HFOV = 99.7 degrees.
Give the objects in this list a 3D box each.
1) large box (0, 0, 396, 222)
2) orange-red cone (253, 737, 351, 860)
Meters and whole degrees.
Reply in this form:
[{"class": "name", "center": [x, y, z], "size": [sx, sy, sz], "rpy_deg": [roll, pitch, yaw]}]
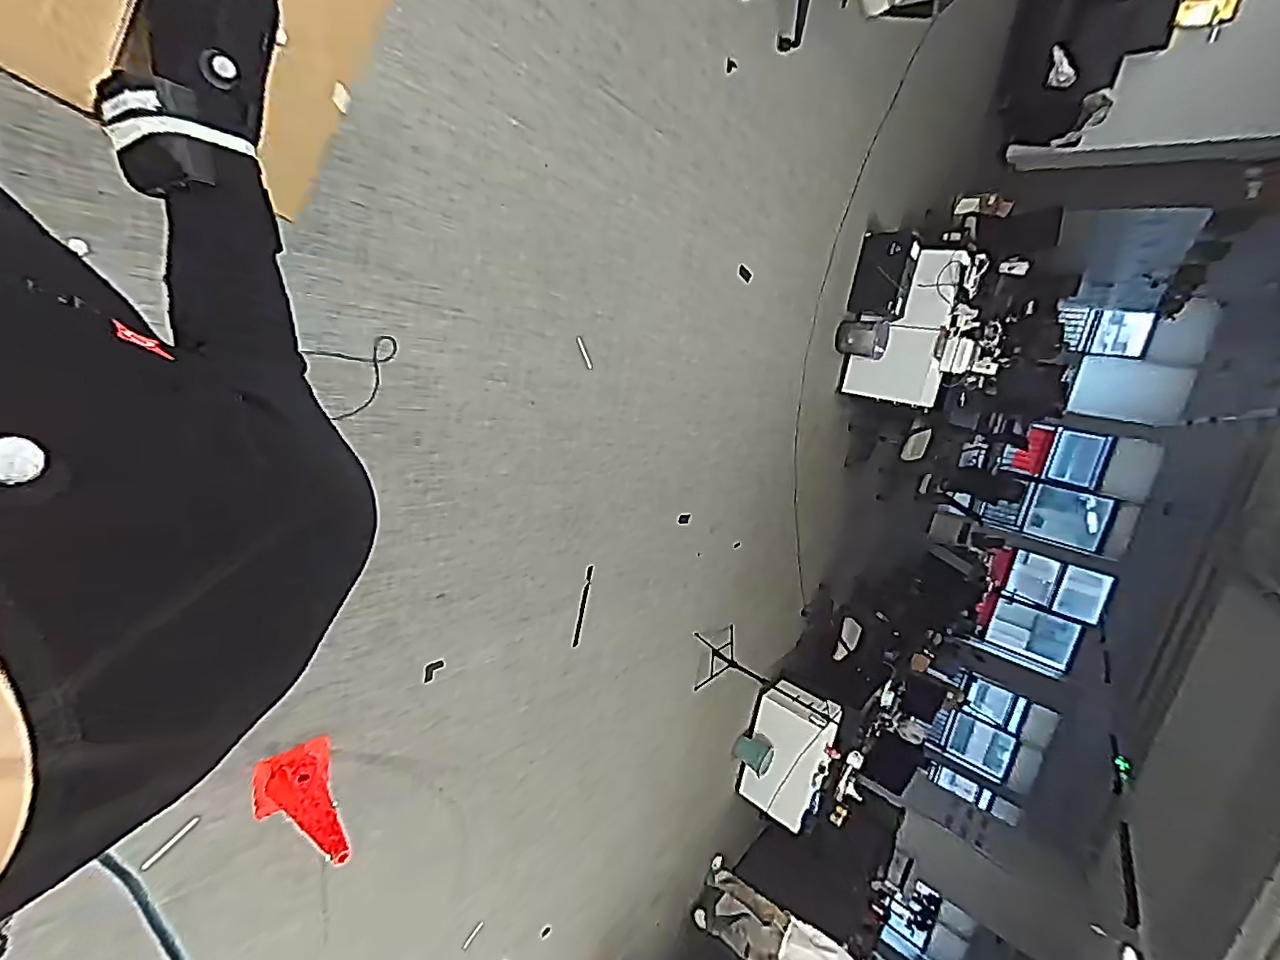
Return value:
[{"class": "large box", "center": [-0.504, -0.505, 0.469], "size": [0.408, 0.320, 0.320], "rpy_deg": [27, 97, -13]}, {"class": "orange-red cone", "center": [-0.905, 0.925, 1.507], "size": [0.198, 0.360, 0.199], "rpy_deg": [-9, 111, -51]}]
